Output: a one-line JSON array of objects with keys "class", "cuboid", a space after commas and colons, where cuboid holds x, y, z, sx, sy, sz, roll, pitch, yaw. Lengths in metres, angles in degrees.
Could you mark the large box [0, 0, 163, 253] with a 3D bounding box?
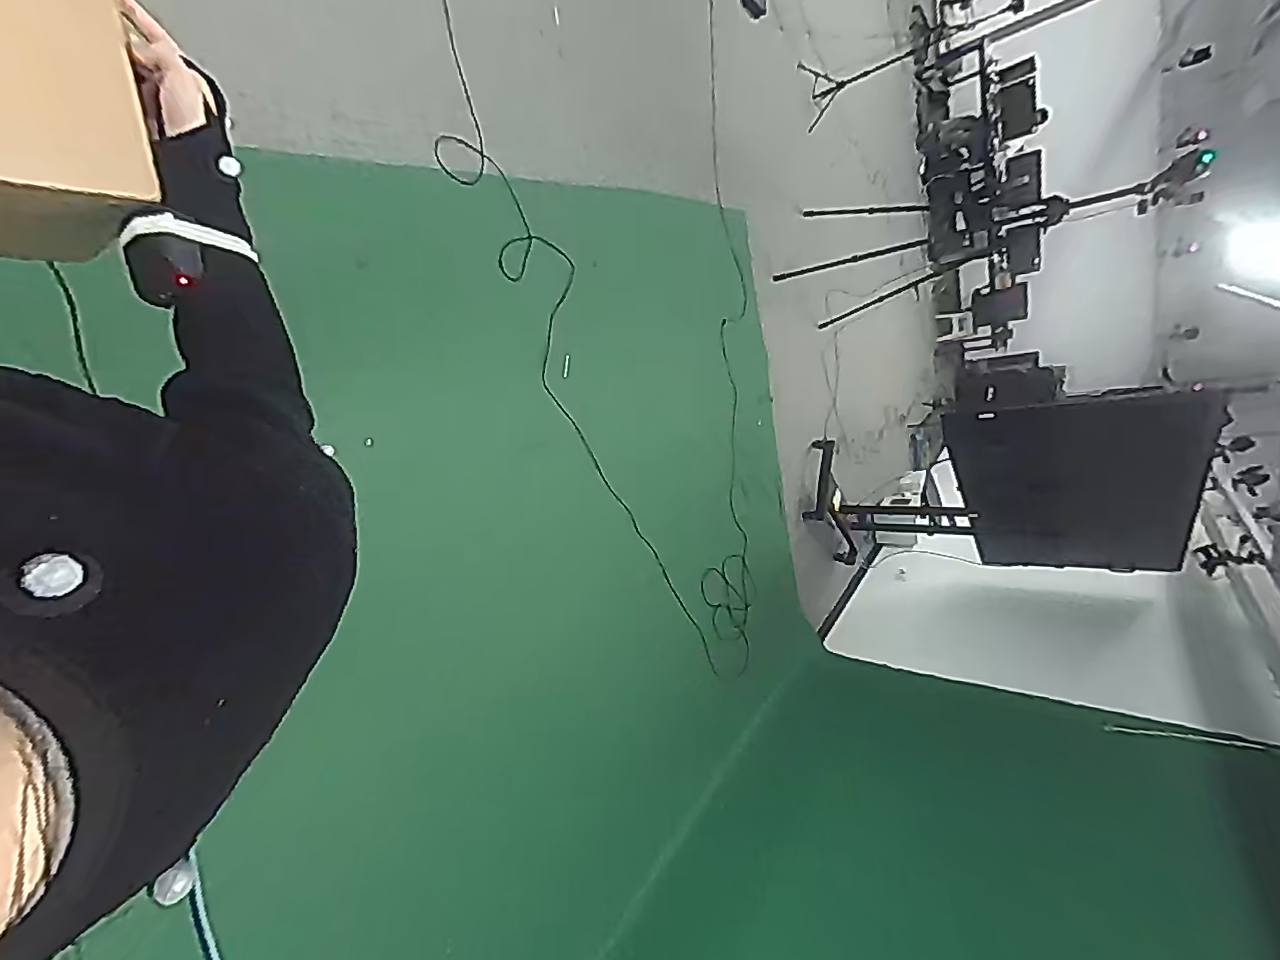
[{"class": "large box", "cuboid": [-0.650, -0.347, 0.360, 0.408, 0.320, 0.320, -21, 110, -50]}]
